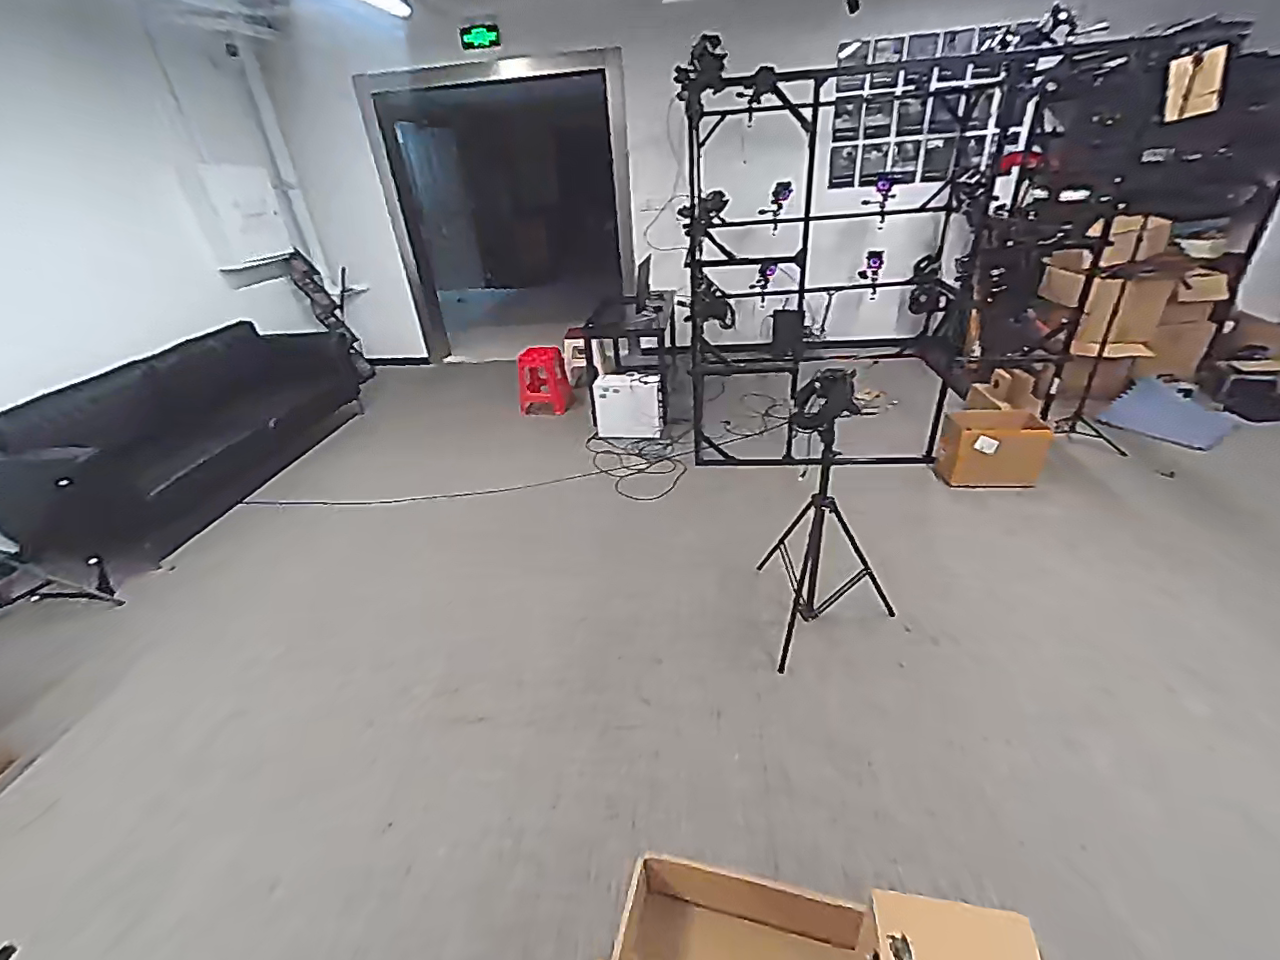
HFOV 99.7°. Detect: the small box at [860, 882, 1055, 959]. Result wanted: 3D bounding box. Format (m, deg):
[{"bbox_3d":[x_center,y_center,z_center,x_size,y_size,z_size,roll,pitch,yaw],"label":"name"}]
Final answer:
[{"bbox_3d":[0.361,0.602,0.608,0.179,0.176,0.168,3,29,12],"label":"small box"}]
